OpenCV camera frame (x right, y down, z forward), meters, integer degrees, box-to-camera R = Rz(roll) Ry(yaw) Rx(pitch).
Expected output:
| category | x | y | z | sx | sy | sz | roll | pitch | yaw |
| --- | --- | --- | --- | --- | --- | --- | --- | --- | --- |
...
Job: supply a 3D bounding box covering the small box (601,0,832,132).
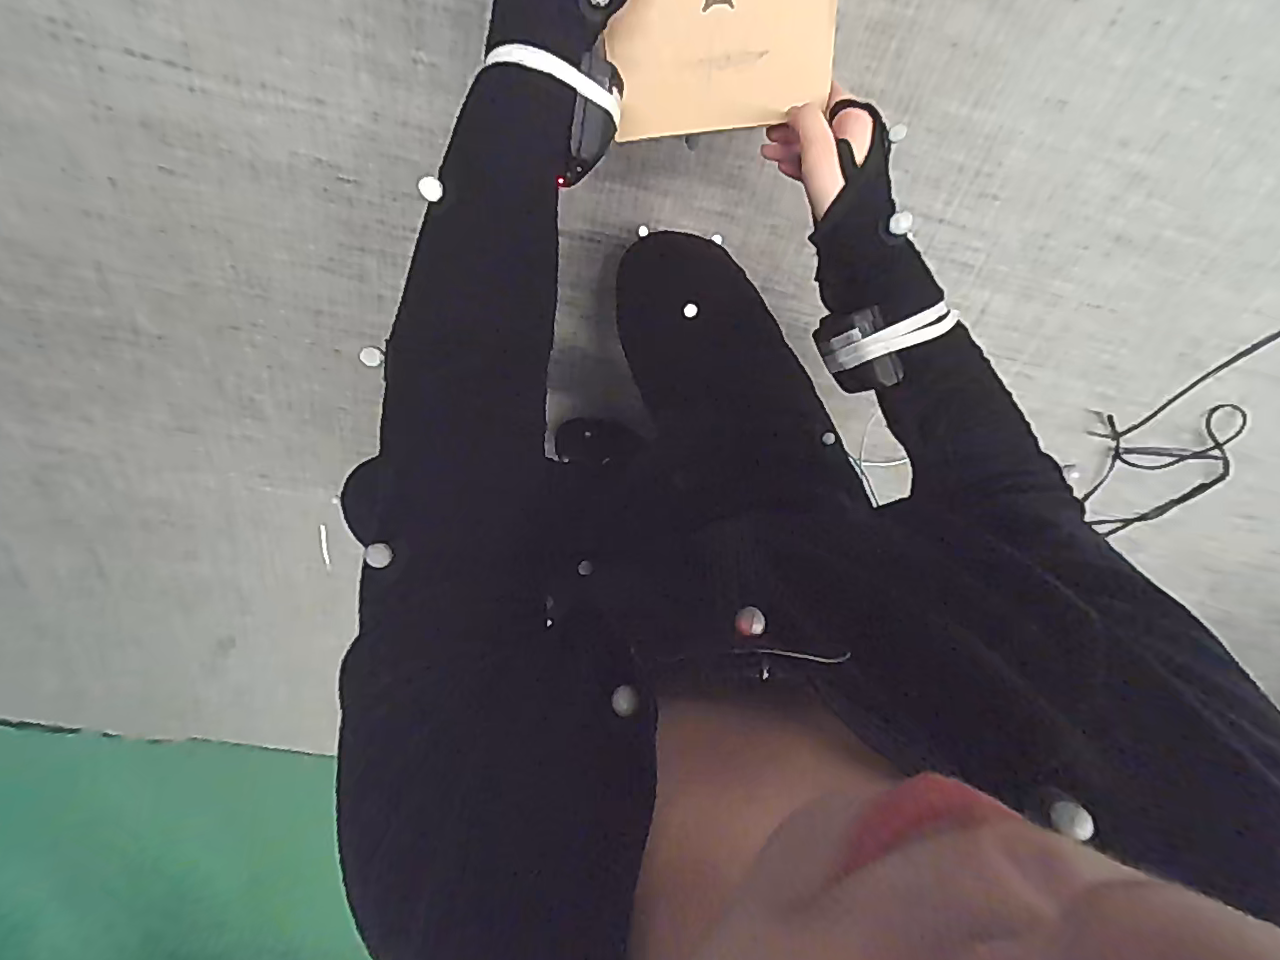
| category | x | y | z | sx | sy | sz | roll | pitch | yaw |
| --- | --- | --- | --- | --- | --- | --- | --- | --- | --- |
| small box | 0.055 | -0.394 | 0.440 | 0.168 | 0.176 | 0.179 | -2 | 124 | 6 |
